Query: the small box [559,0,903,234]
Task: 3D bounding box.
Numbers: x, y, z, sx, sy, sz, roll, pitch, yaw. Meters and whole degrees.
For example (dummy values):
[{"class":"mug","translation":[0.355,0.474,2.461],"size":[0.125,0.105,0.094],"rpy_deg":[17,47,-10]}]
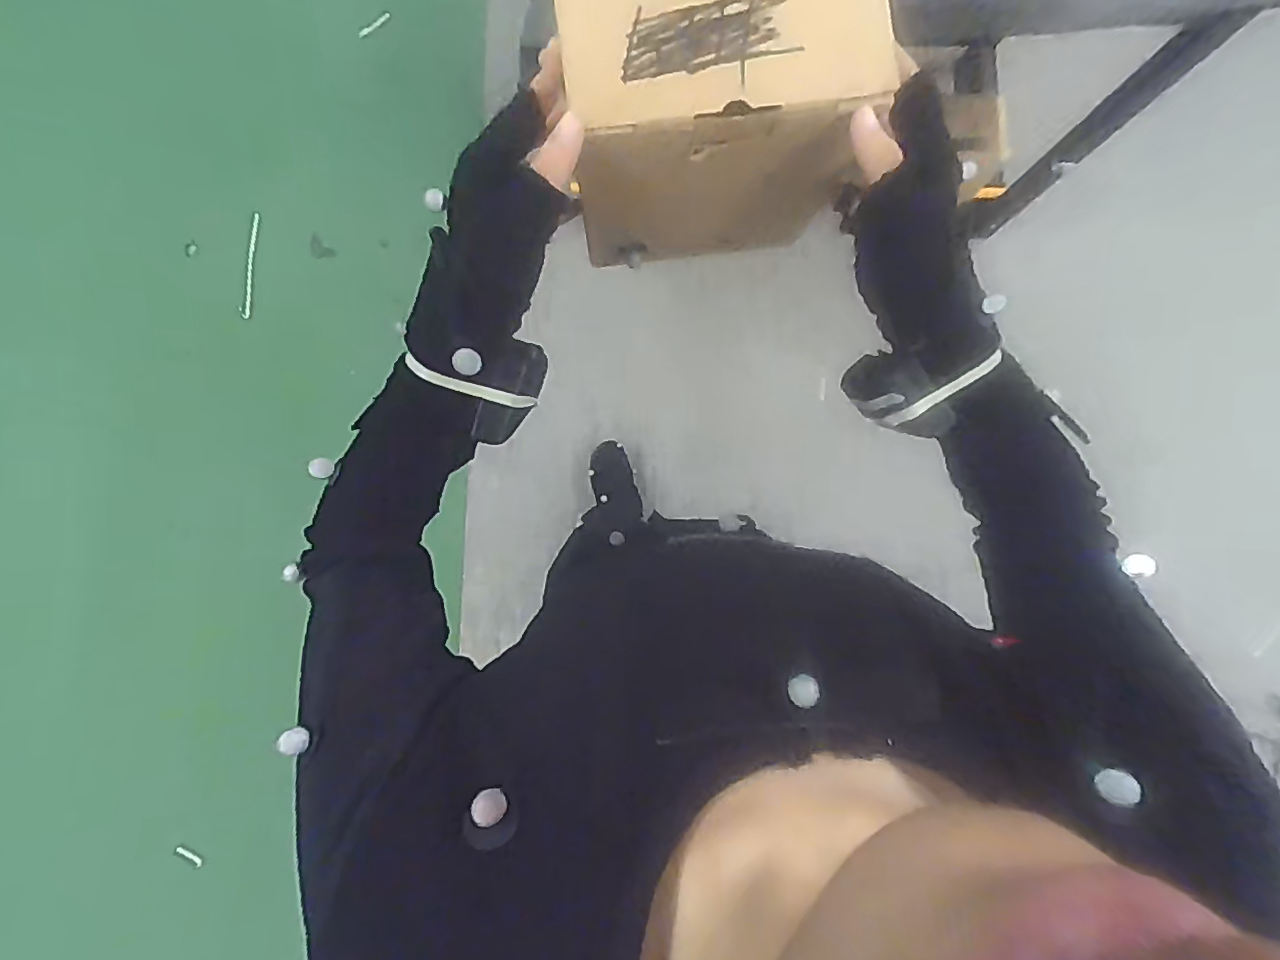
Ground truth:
[{"class":"small box","translation":[0.037,-0.277,0.343],"size":[0.168,0.176,0.179],"rpy_deg":[-7,88,-2]}]
